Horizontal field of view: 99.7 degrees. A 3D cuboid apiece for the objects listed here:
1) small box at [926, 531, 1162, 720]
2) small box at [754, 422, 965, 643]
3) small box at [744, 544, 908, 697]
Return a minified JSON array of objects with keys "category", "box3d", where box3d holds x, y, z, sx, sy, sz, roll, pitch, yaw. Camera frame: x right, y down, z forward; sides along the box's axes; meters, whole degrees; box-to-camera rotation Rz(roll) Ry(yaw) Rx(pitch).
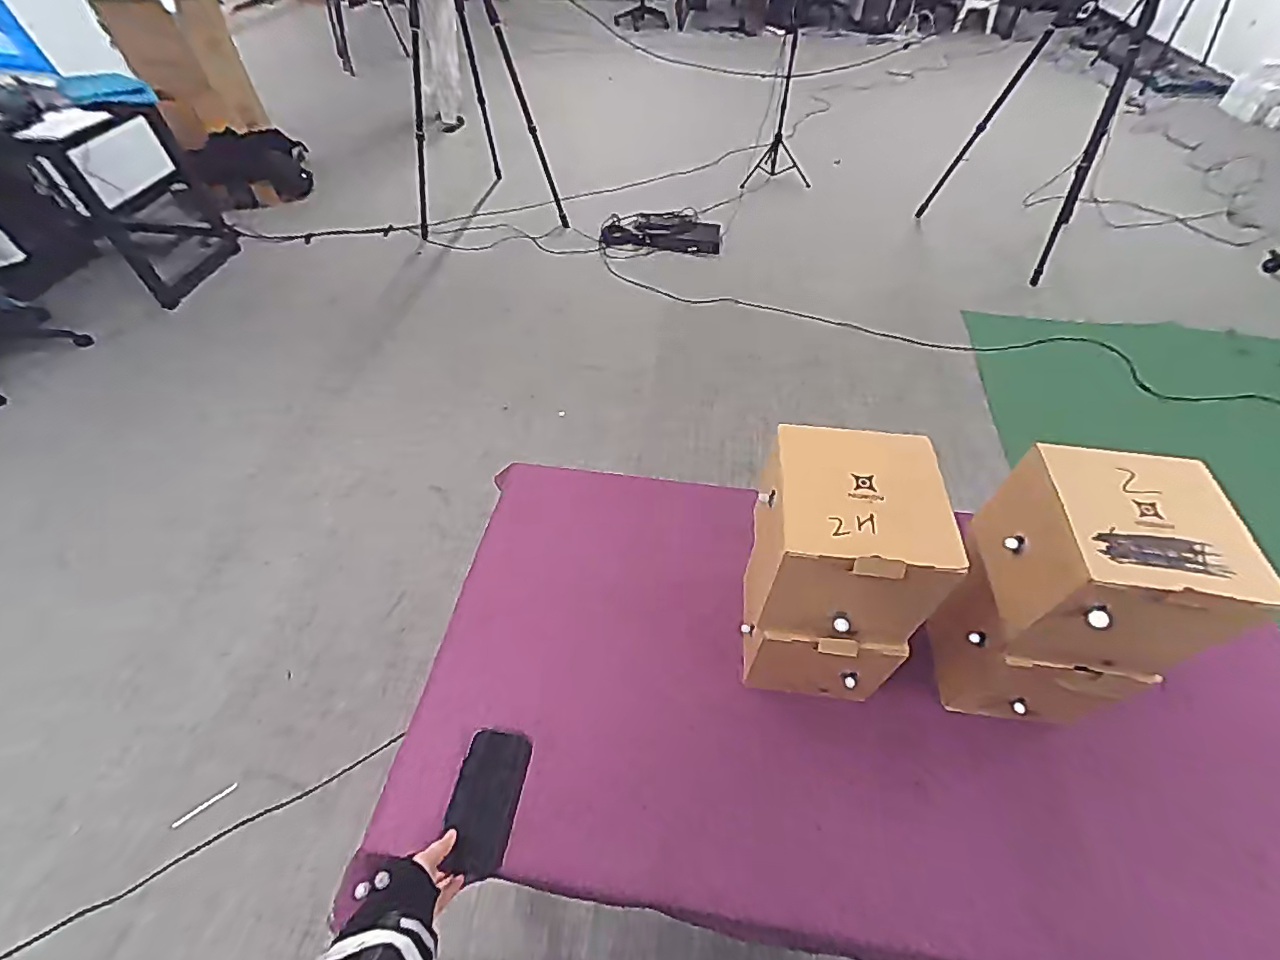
[{"category":"small box","box3d":[0.498,0.191,0.708,0.168,0.176,0.179,5,51,5]},{"category":"small box","box3d":[0.224,0.060,0.609,0.168,0.176,0.179,5,51,5]},{"category":"small box","box3d":[0.235,0.174,0.728,0.168,0.176,0.179,6,50,5]}]
